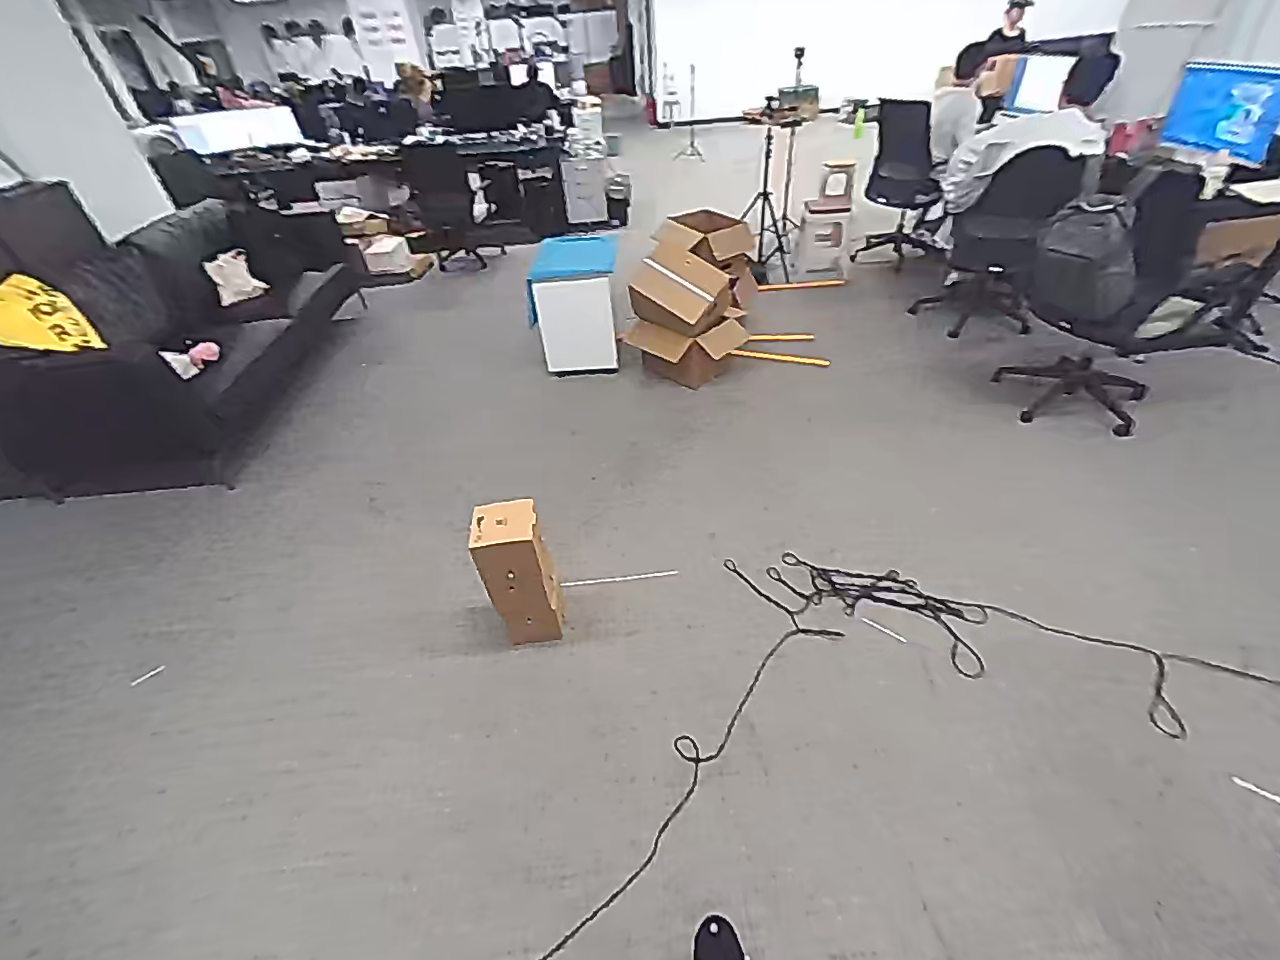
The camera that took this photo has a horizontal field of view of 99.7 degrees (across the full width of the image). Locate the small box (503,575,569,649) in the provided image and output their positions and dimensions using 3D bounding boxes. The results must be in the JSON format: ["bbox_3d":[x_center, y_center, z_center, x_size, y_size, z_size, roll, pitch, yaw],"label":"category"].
[{"bbox_3d":[-0.338,0.440,1.785,0.179,0.176,0.168,-6,39,-1],"label":"small box"}]

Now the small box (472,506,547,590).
[{"bbox_3d":[-0.370,0.198,1.566,0.179,0.176,0.168,-7,39,-2],"label":"small box"}]

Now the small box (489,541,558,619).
[{"bbox_3d":[-0.362,0.315,1.681,0.179,0.176,0.168,-6,40,0],"label":"small box"}]
